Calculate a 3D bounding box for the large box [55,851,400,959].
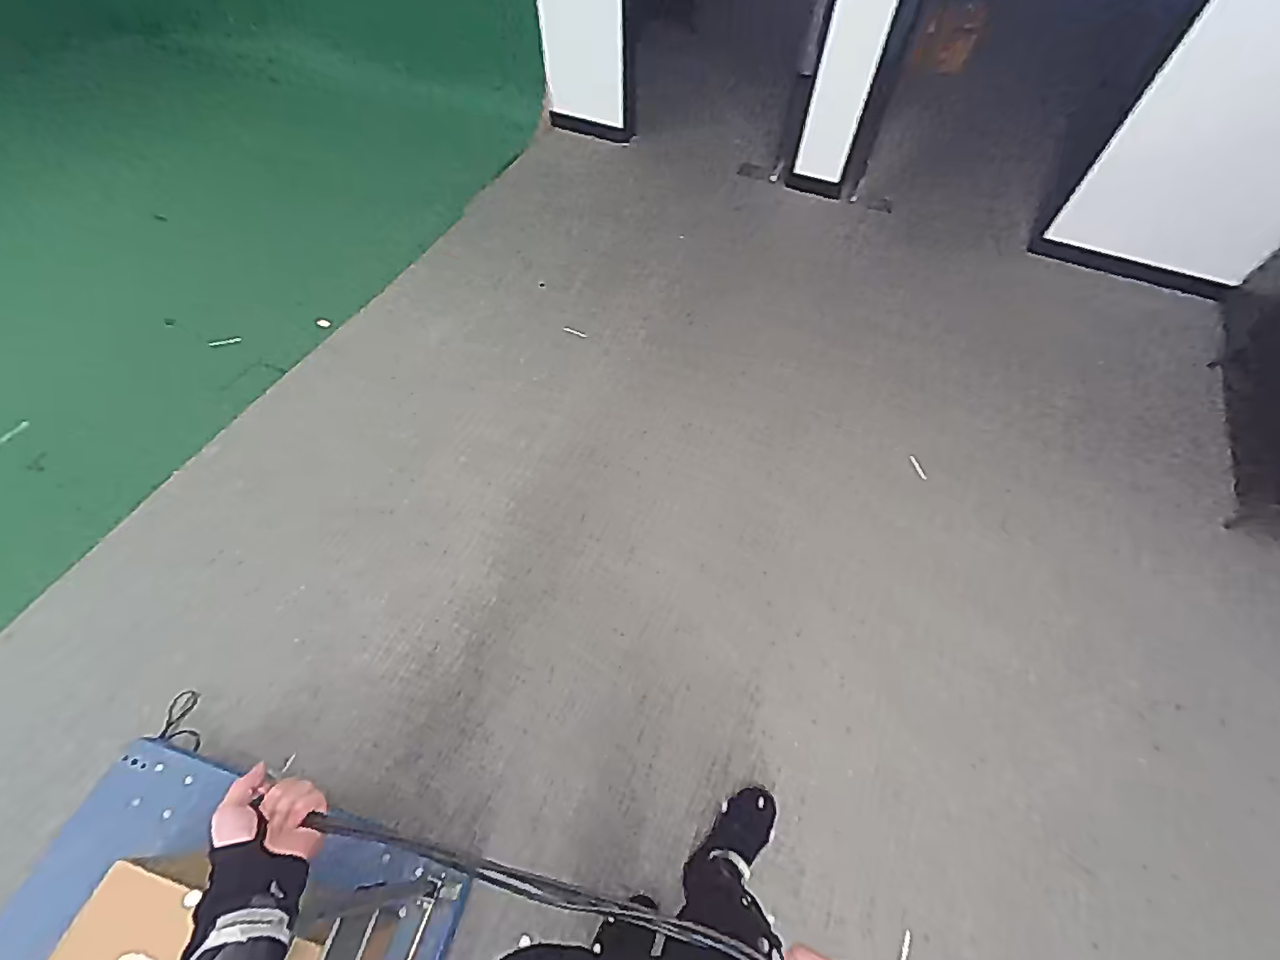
[{"bbox_3d":[-0.707,0.876,0.913,0.408,0.320,0.320,14,59,9],"label":"large box"}]
